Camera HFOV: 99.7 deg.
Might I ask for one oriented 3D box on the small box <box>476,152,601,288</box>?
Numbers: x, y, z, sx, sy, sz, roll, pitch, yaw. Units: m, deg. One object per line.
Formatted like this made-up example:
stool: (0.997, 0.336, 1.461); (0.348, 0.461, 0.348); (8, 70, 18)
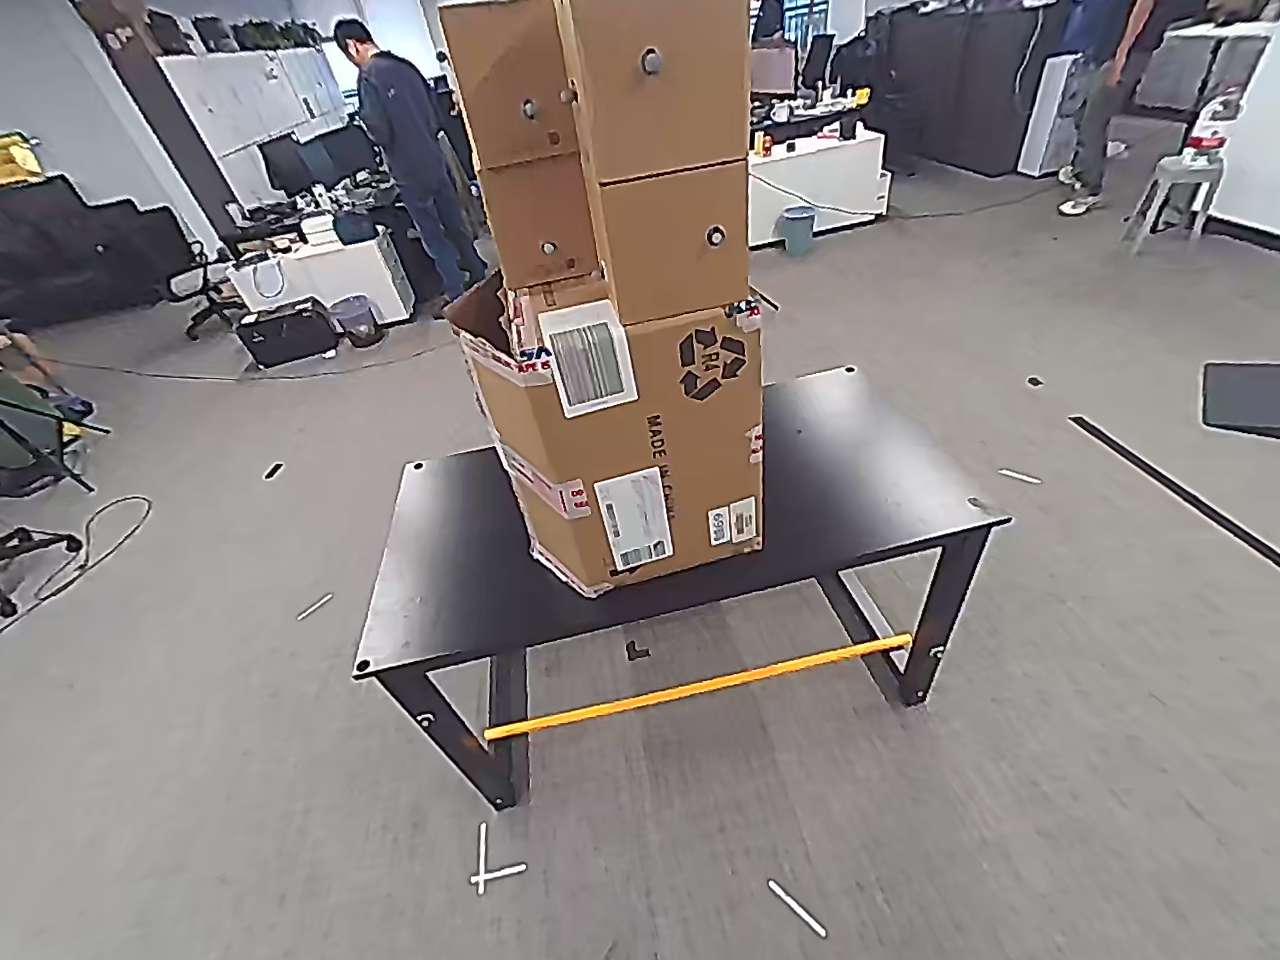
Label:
small box: (-0.156, -0.424, 0.865); (0.168, 0.176, 0.179); (-15, 39, -7)

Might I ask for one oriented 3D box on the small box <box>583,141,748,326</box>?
small box: (0.033, -0.326, 0.716); (0.179, 0.176, 0.168); (-14, 40, -4)

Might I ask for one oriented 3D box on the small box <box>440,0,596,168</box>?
small box: (-0.169, -0.549, 0.756); (0.168, 0.176, 0.179); (-17, 39, -8)
